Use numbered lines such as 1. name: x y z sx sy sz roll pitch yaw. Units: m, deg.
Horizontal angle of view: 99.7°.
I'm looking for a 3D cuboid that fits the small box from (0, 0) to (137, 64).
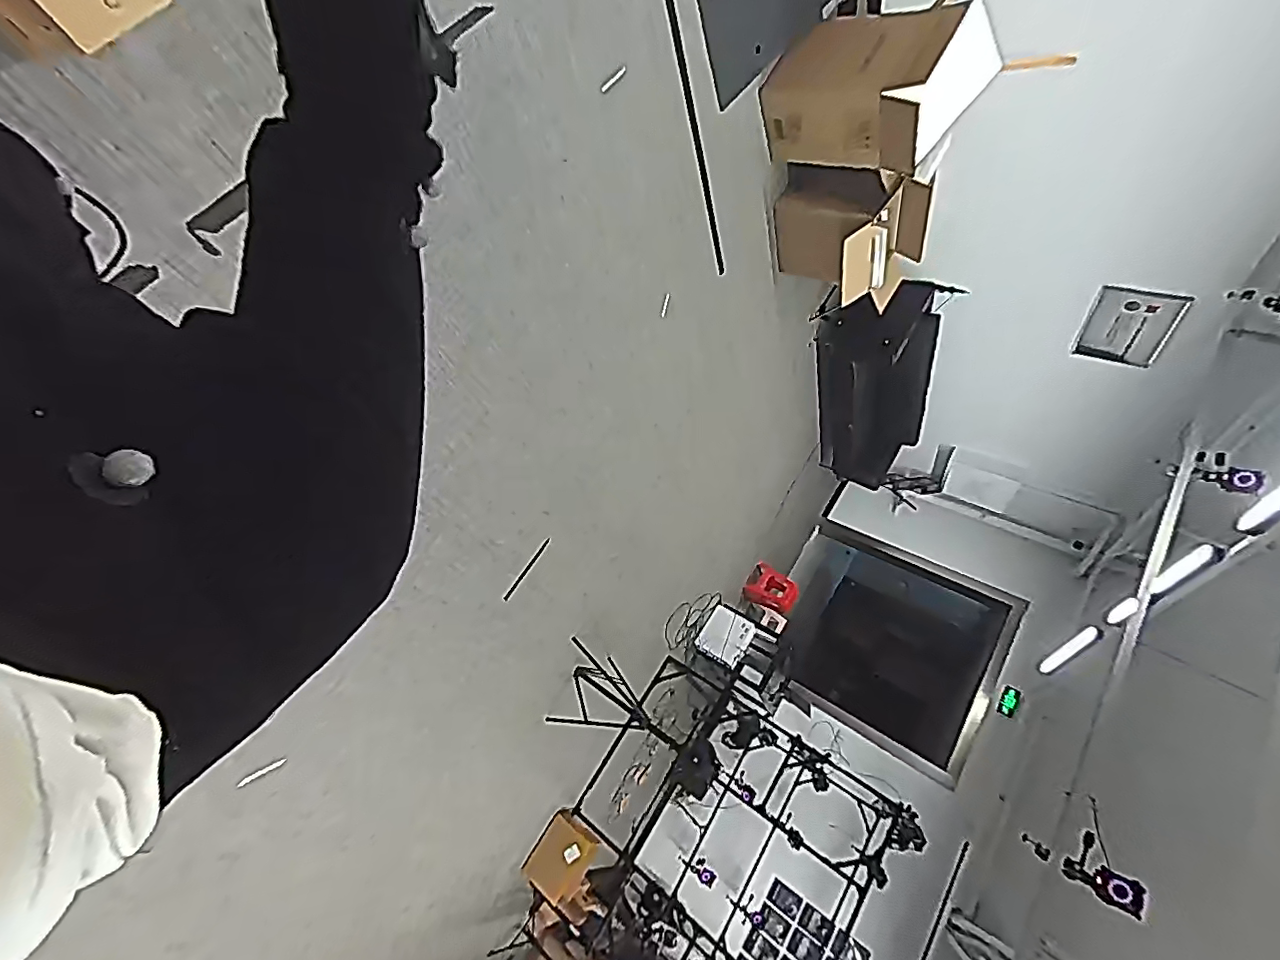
1. small box: -1.021 -0.838 0.907 0.179 0.176 0.168 -55 148 -16
